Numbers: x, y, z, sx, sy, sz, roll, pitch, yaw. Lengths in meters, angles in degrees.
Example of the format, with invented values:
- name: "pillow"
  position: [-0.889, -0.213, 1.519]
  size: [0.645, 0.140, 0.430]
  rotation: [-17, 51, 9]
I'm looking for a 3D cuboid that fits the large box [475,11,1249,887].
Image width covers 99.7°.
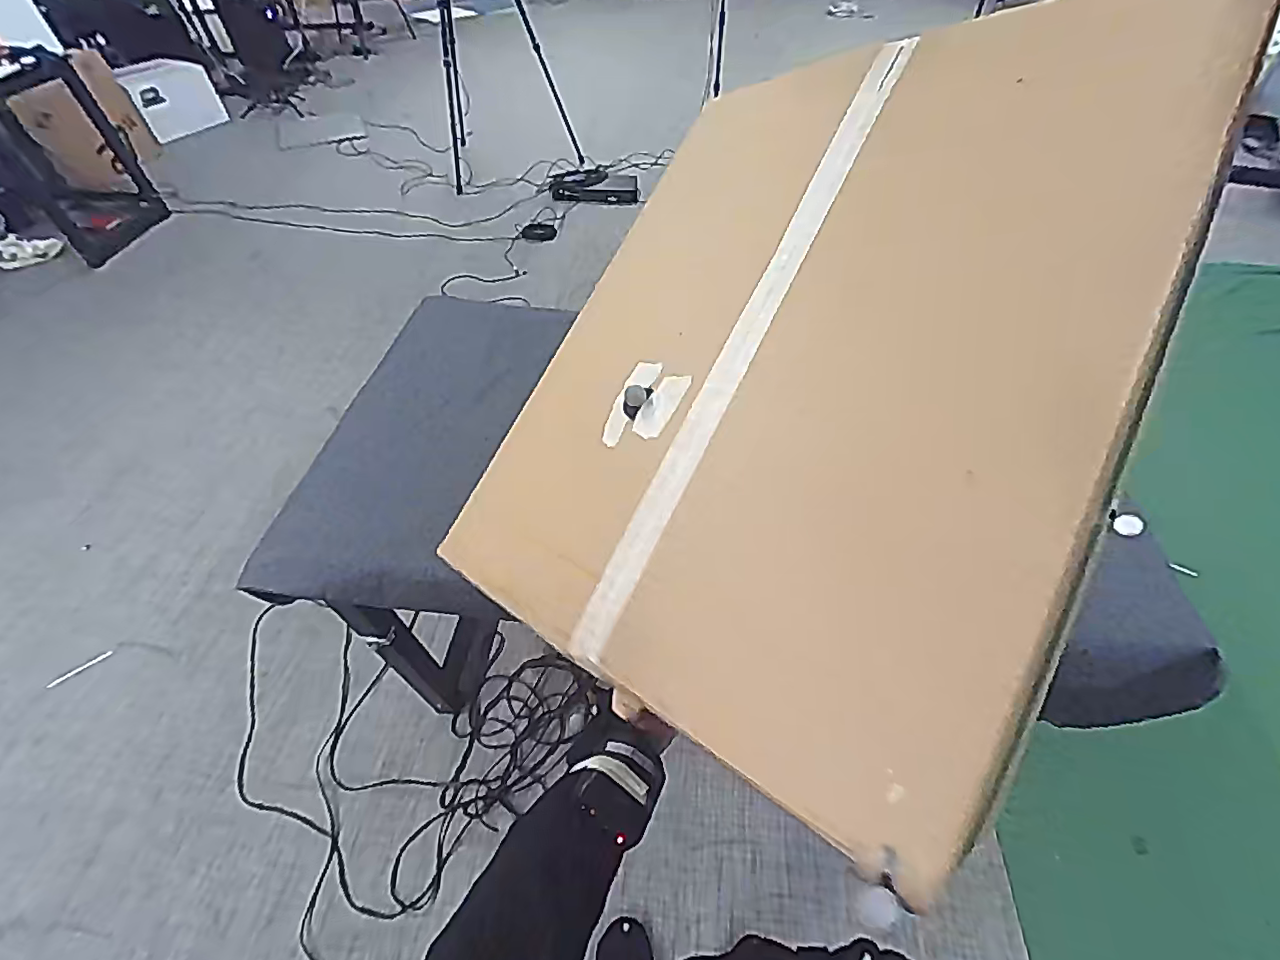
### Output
- name: "large box"
  position: [0.159, -0.018, 0.419]
  size: [0.320, 0.320, 0.408]
  rotation: [19, 78, 40]
